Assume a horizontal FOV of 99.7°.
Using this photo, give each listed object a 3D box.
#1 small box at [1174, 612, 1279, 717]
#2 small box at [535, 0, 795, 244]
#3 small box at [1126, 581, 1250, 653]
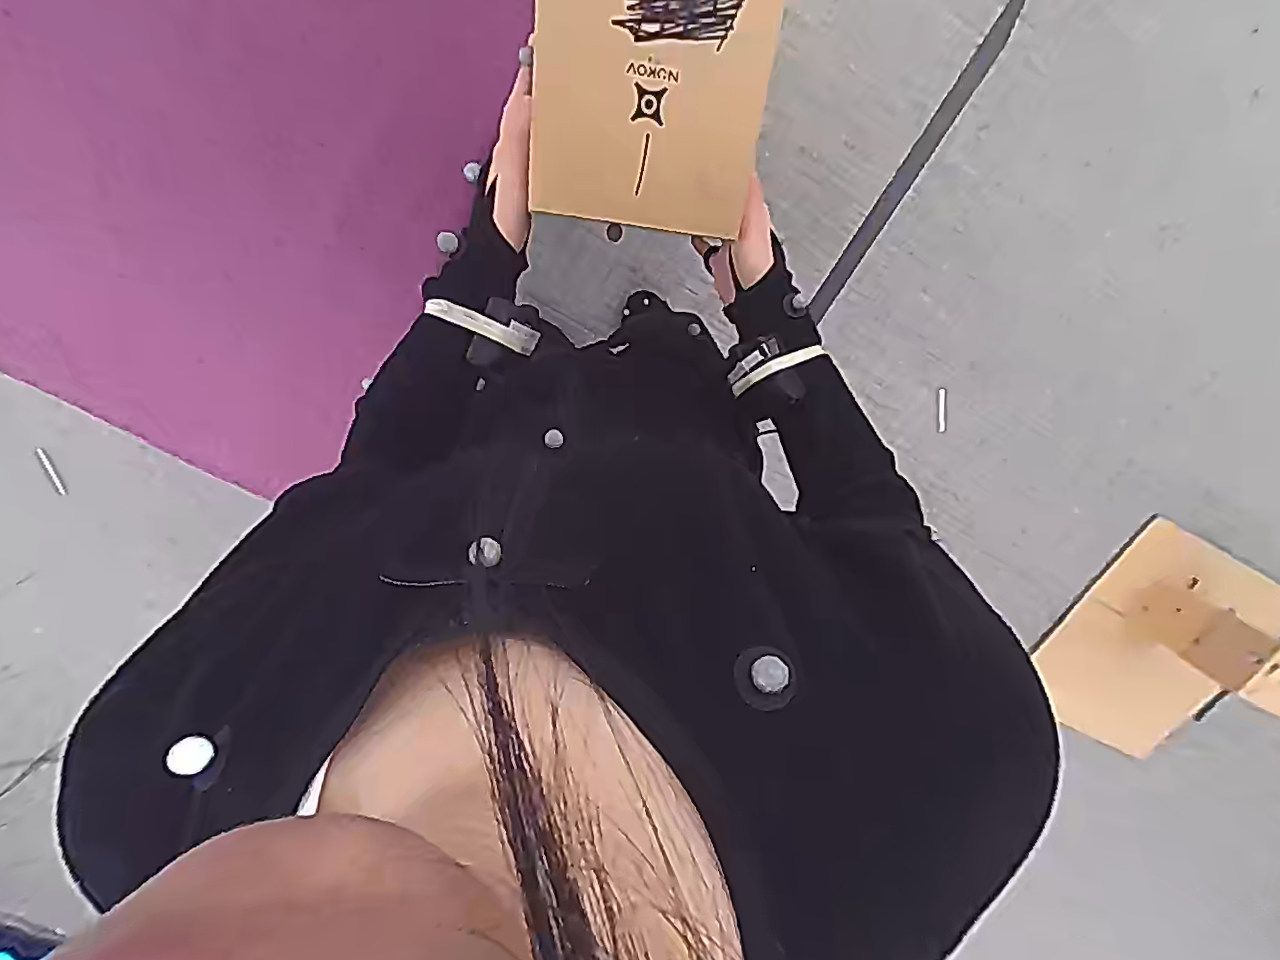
[{"bbox_3d":[1.581,0.473,1.406,0.179,0.176,0.168,23,108,-8],"label":"small box"},{"bbox_3d":[0.005,-0.304,0.444,0.168,0.176,0.179,4,116,-9],"label":"small box"},{"bbox_3d":[1.581,0.418,1.561,0.179,0.176,0.168,25,108,-8],"label":"small box"}]
